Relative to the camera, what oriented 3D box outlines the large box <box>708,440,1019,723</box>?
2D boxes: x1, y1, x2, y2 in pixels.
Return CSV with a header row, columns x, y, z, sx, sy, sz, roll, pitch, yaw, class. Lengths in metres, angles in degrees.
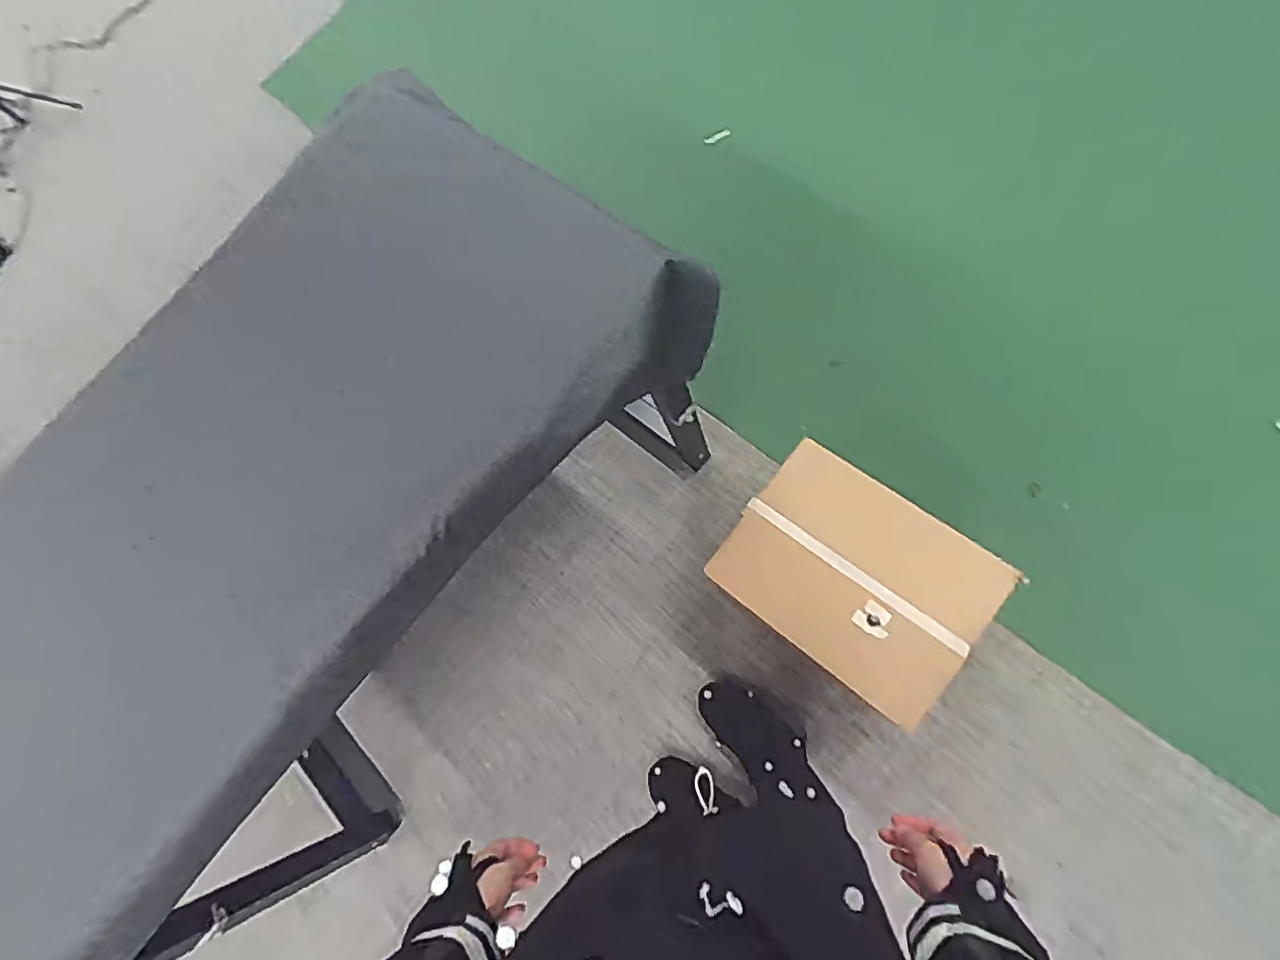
x,y,z,sx,sy,sz,roll,pitch,yaw,class
0.389,0.191,1.047,0.408,0.320,0.320,36,85,19,large box
